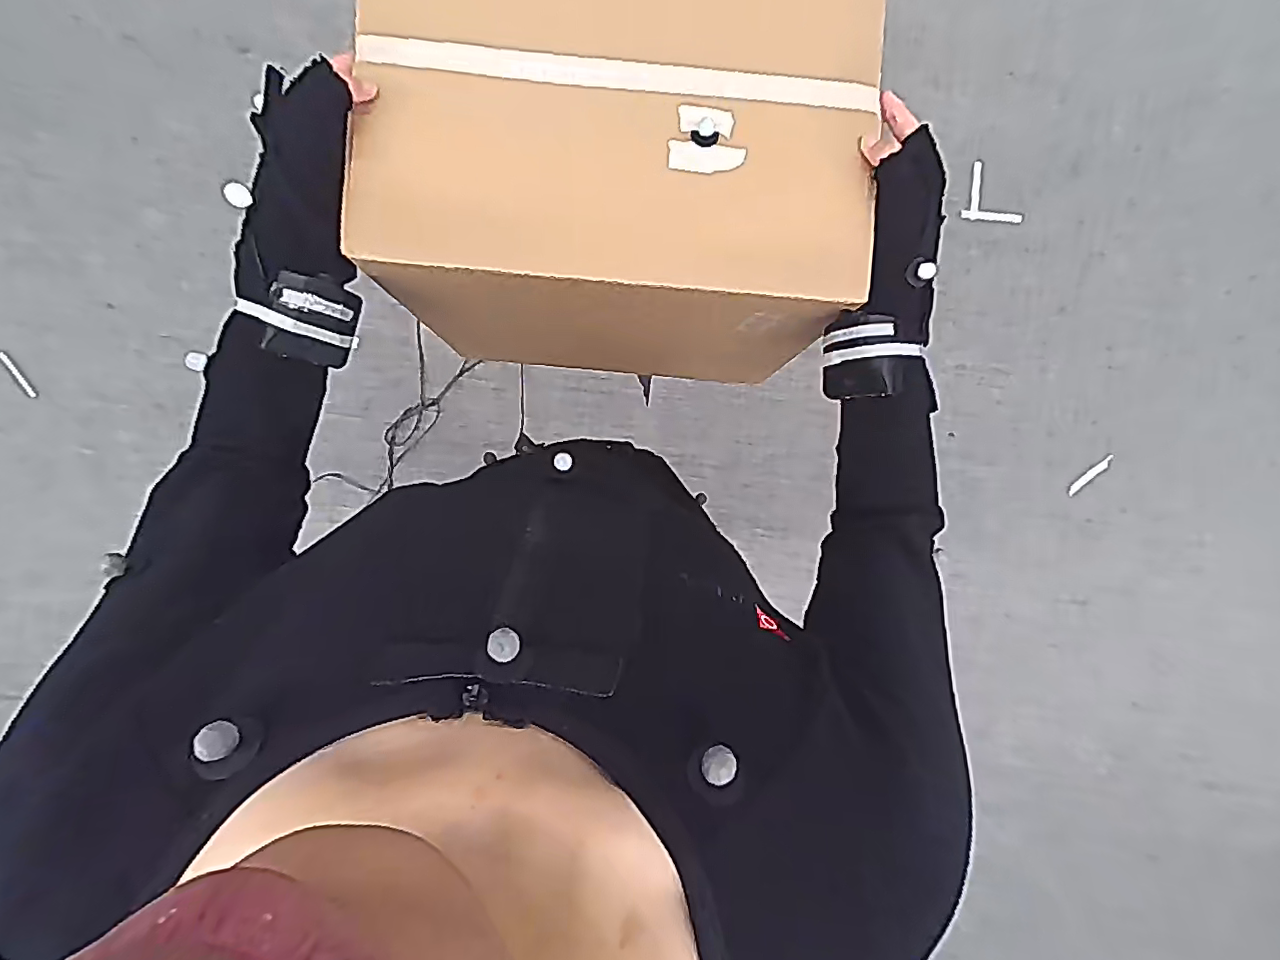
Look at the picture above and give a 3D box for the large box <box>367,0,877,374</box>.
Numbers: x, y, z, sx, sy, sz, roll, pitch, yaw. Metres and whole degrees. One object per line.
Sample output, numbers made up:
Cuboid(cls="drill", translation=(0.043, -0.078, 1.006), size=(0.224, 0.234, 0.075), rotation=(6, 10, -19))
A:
Cuboid(cls="large box", translation=(-0.016, -0.310, 0.582), size=(0.408, 0.320, 0.320), rotation=(4, 89, -3))
